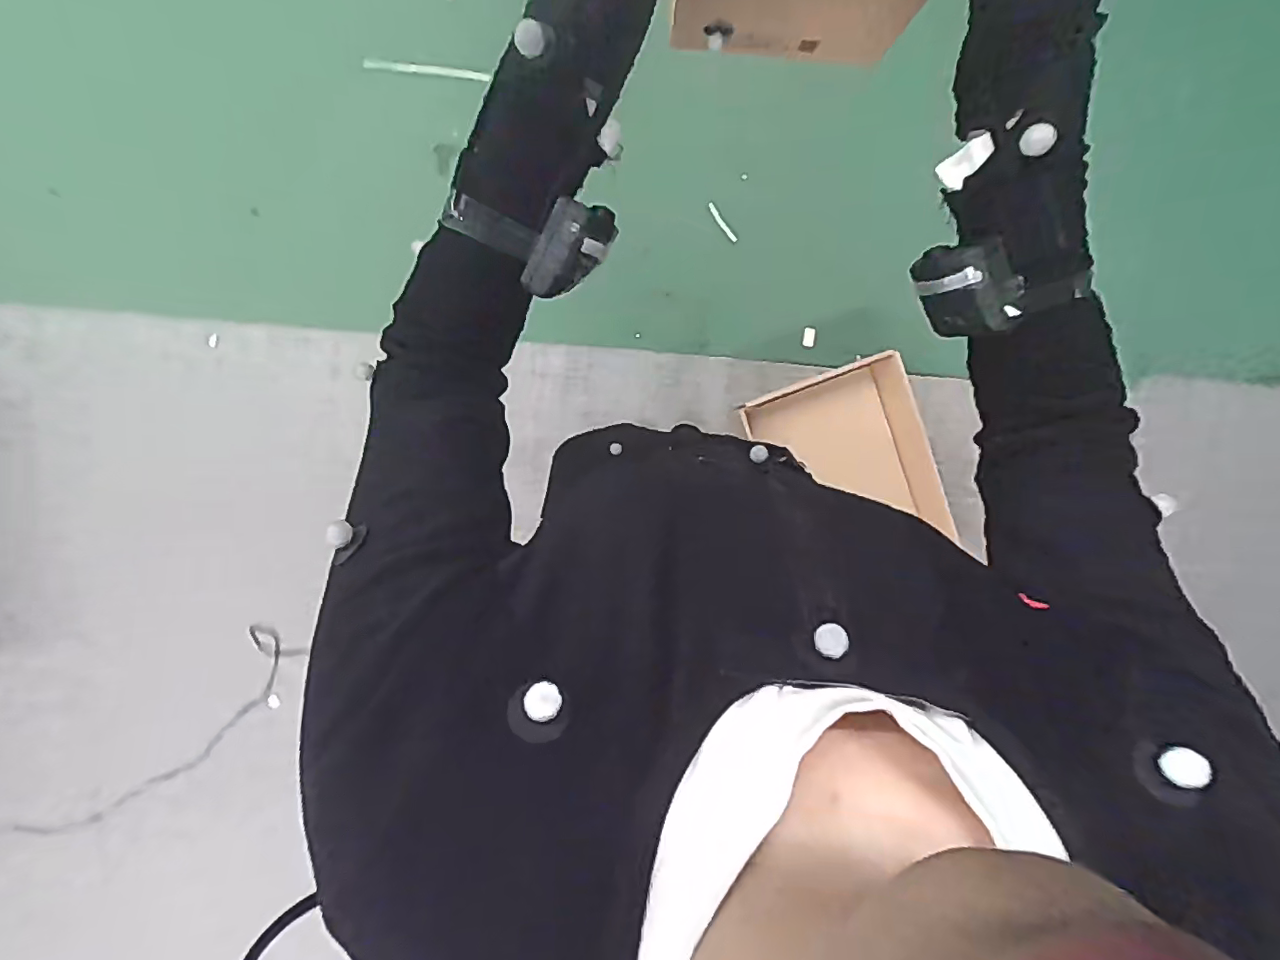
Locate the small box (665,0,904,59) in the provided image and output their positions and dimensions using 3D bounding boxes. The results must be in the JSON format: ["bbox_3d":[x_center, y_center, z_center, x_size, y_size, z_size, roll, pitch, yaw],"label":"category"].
[{"bbox_3d":[0.106,-0.400,0.328,0.168,0.176,0.179,3,100,-3],"label":"small box"}]
